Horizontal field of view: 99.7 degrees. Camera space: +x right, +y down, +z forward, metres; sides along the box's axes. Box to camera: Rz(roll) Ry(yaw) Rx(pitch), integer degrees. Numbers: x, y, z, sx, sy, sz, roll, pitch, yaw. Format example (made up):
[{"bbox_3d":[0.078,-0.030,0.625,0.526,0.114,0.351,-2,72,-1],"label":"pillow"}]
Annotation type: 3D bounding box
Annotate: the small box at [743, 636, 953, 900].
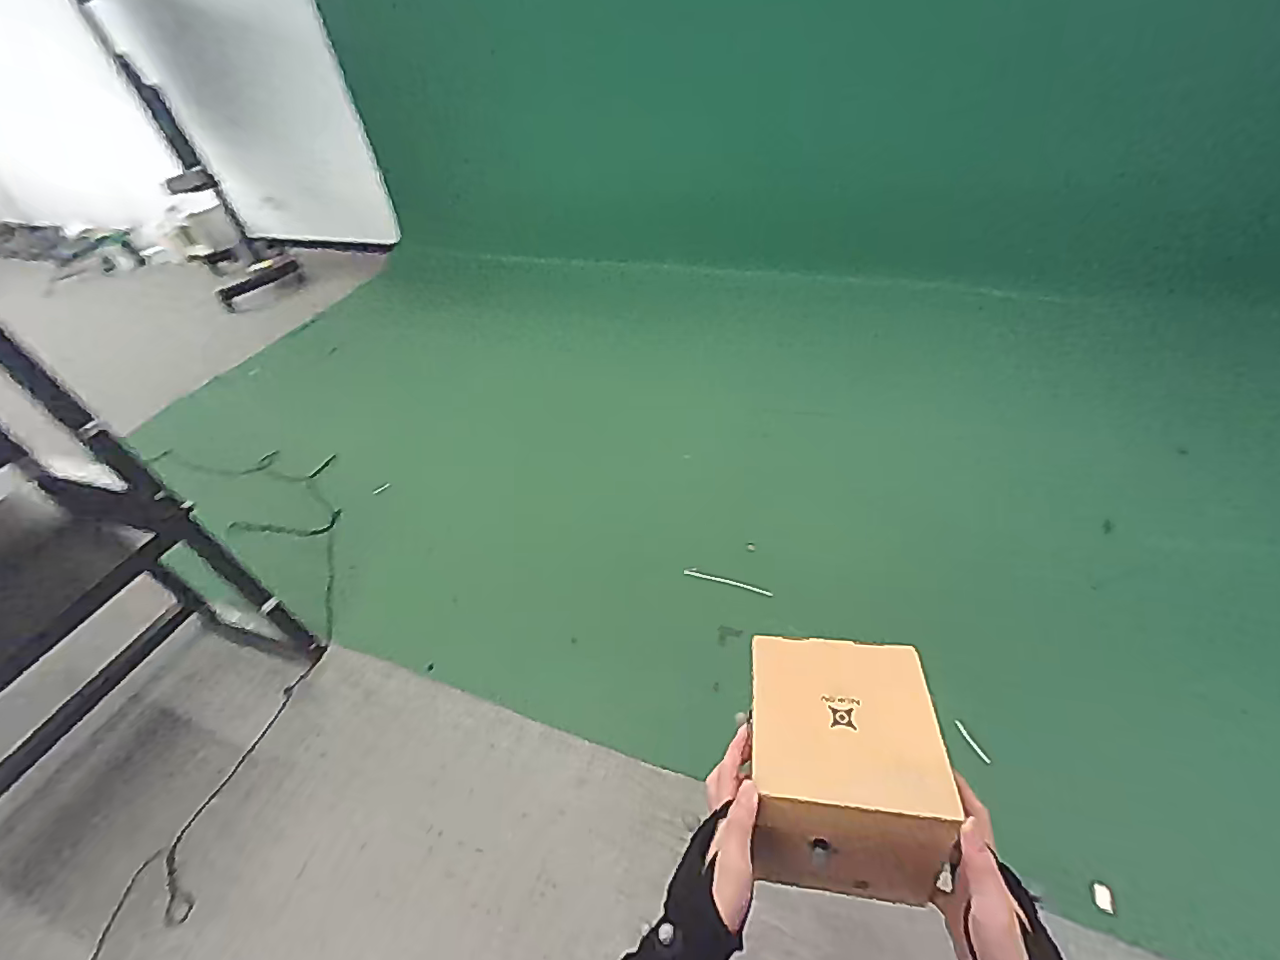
[{"bbox_3d":[0.191,0.286,0.549,0.168,0.176,0.179,0,33,11],"label":"small box"}]
